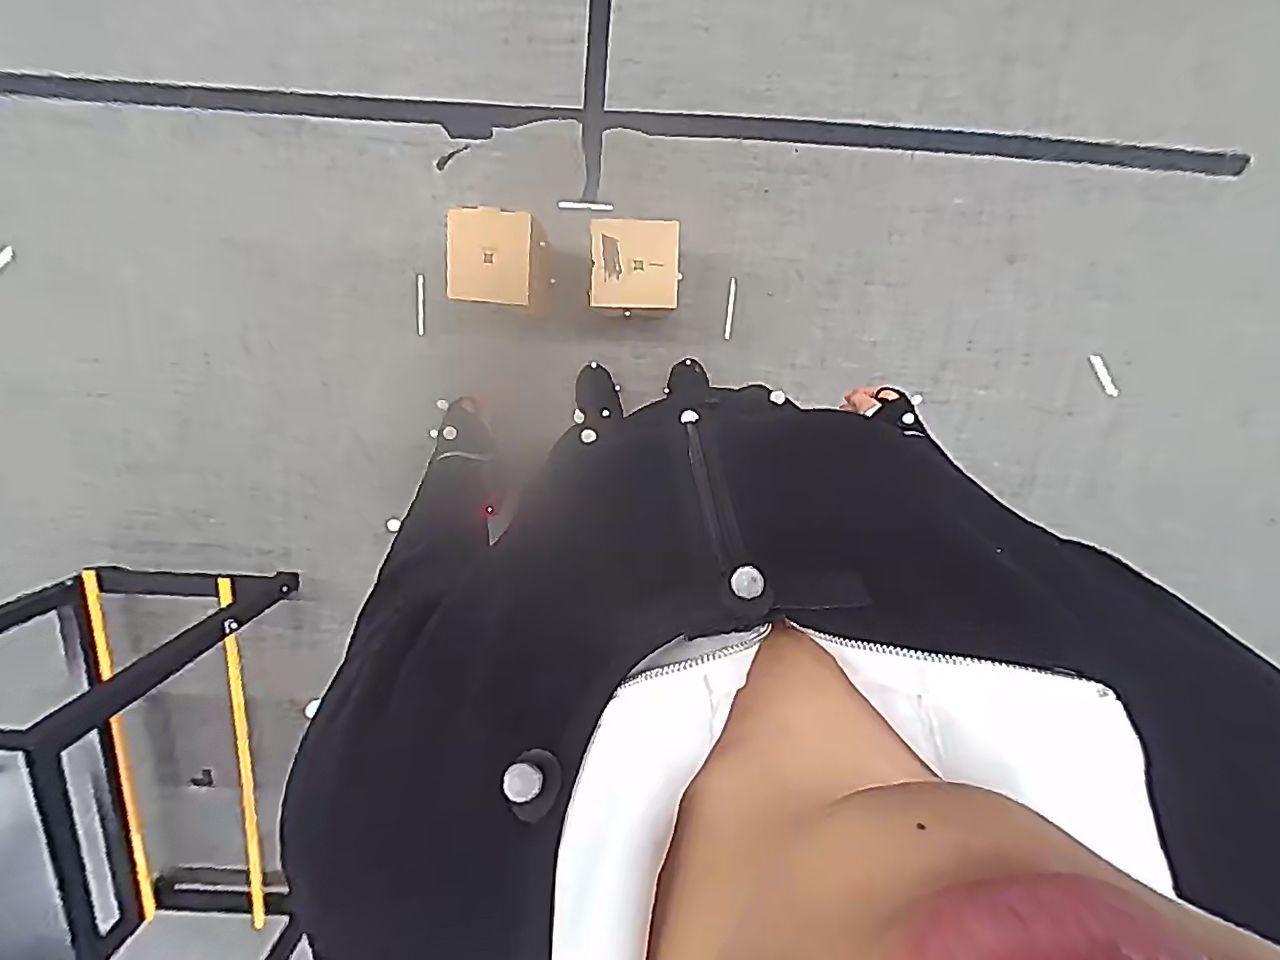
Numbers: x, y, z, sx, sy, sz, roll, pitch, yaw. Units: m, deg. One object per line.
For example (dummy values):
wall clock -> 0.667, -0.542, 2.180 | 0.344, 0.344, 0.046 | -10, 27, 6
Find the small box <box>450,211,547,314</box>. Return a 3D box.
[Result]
small box -> -0.297, -0.456, 1.156 | 0.168, 0.176, 0.179 | 4, 104, 0

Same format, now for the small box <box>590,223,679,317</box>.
small box -> -0.013, -0.442, 1.159 | 0.179, 0.176, 0.168 | 1, 103, -1

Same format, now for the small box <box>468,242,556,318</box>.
small box -> -0.305, -0.489, 1.315 | 0.179, 0.176, 0.168 | 5, 103, -1
